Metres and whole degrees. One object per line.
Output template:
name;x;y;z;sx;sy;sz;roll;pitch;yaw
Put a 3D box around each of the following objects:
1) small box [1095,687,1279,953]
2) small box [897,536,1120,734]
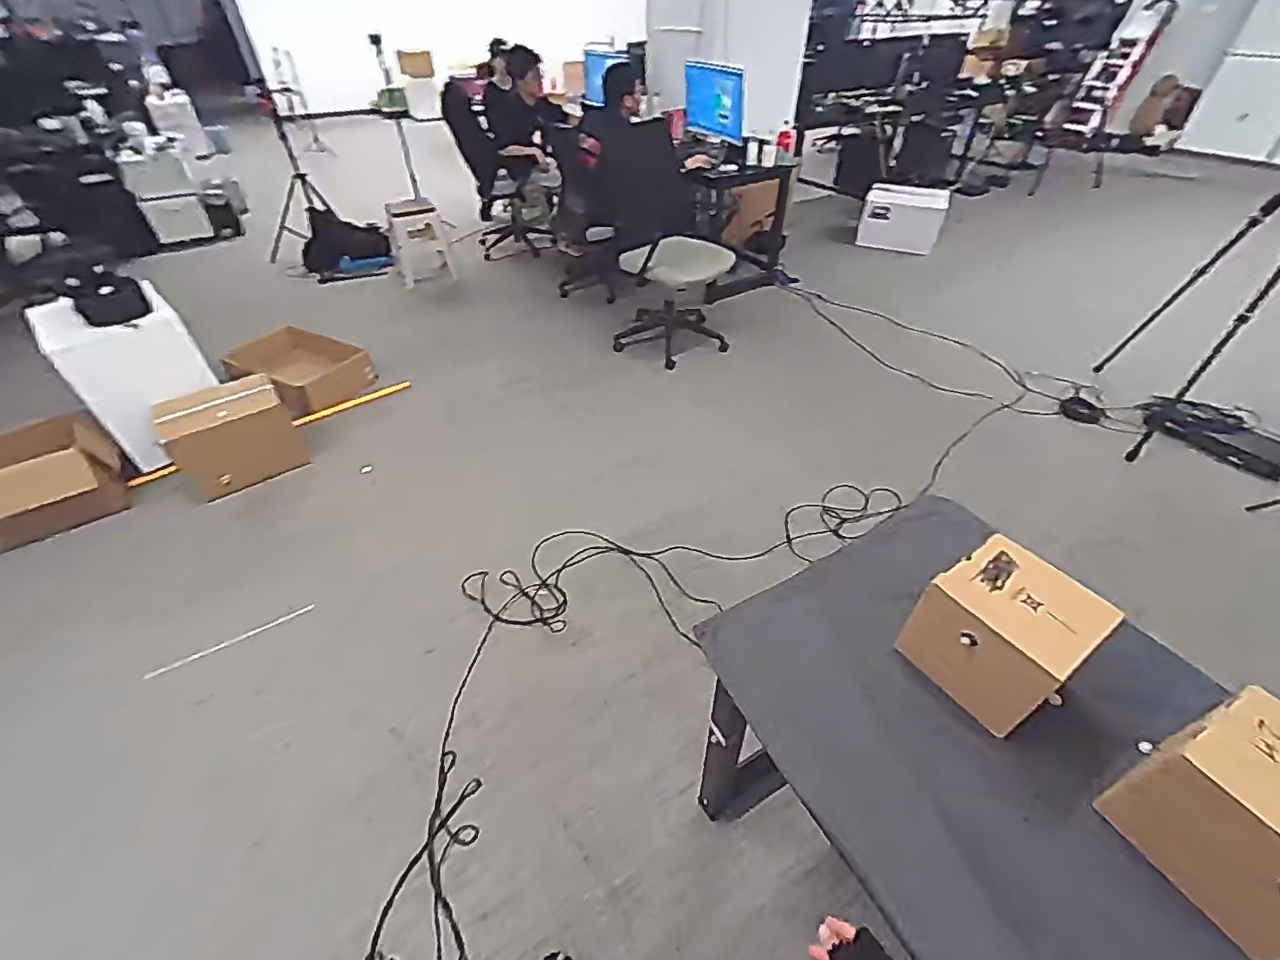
small box;0.671;0.372;0.592;0.168;0.176;0.179;-20;45;-20
small box;0.504;0.218;0.768;0.168;0.176;0.179;-25;48;-24
